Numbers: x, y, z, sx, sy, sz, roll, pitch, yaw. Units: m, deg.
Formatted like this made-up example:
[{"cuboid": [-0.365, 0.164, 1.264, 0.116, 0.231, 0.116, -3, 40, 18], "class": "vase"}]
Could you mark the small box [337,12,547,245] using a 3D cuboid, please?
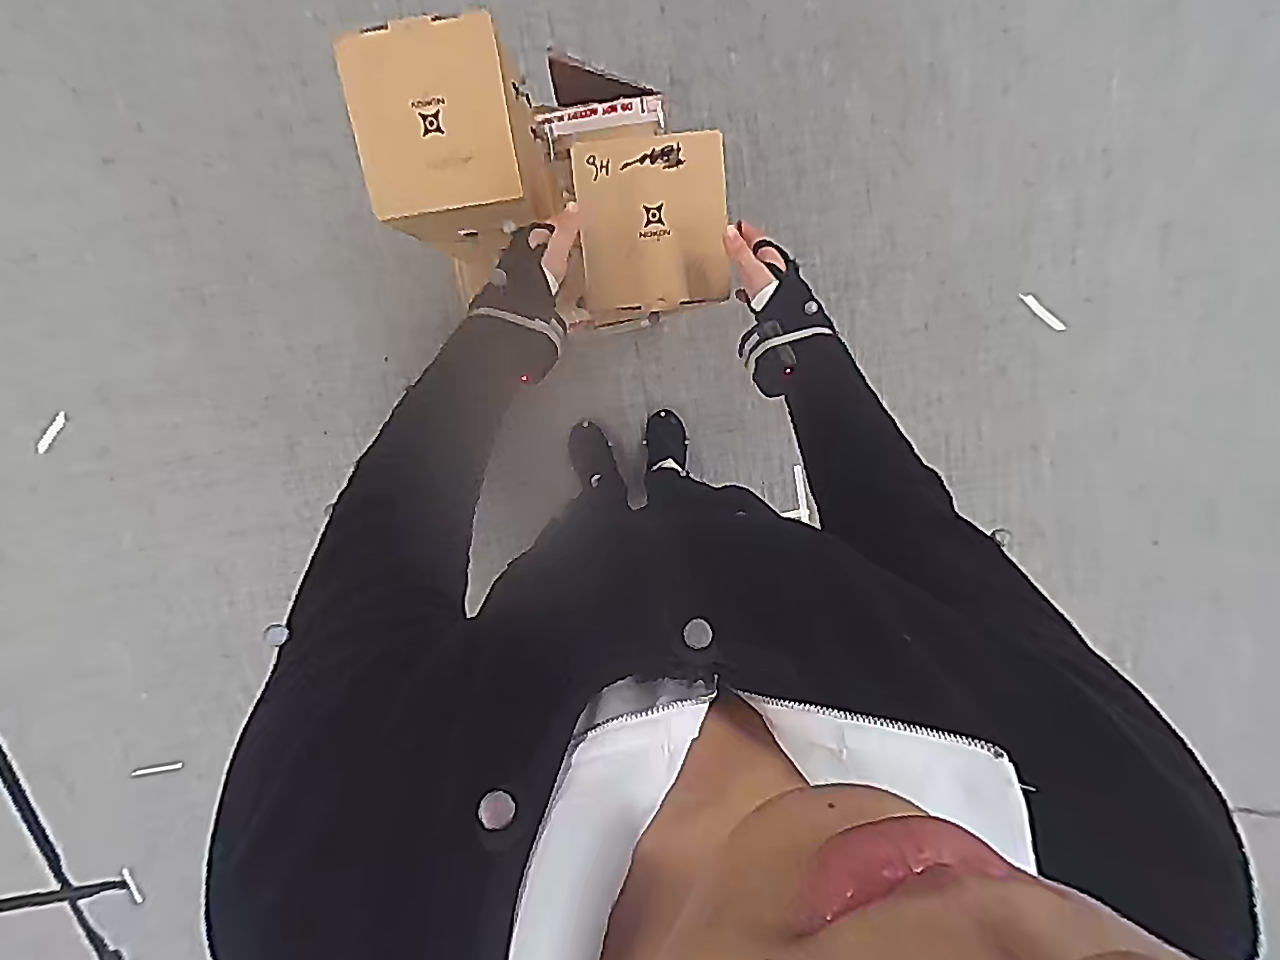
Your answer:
[{"cuboid": [-0.216, -0.396, 0.642, 0.168, 0.176, 0.179, -9, 105, 2], "class": "small box"}]

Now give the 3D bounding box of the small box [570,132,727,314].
[{"cuboid": [0.009, -0.304, 0.677, 0.168, 0.176, 0.179, -7, 105, -2], "class": "small box"}]

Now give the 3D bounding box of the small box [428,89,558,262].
[{"cuboid": [-0.224, -0.437, 0.800, 0.168, 0.176, 0.179, -9, 105, 1], "class": "small box"}]
